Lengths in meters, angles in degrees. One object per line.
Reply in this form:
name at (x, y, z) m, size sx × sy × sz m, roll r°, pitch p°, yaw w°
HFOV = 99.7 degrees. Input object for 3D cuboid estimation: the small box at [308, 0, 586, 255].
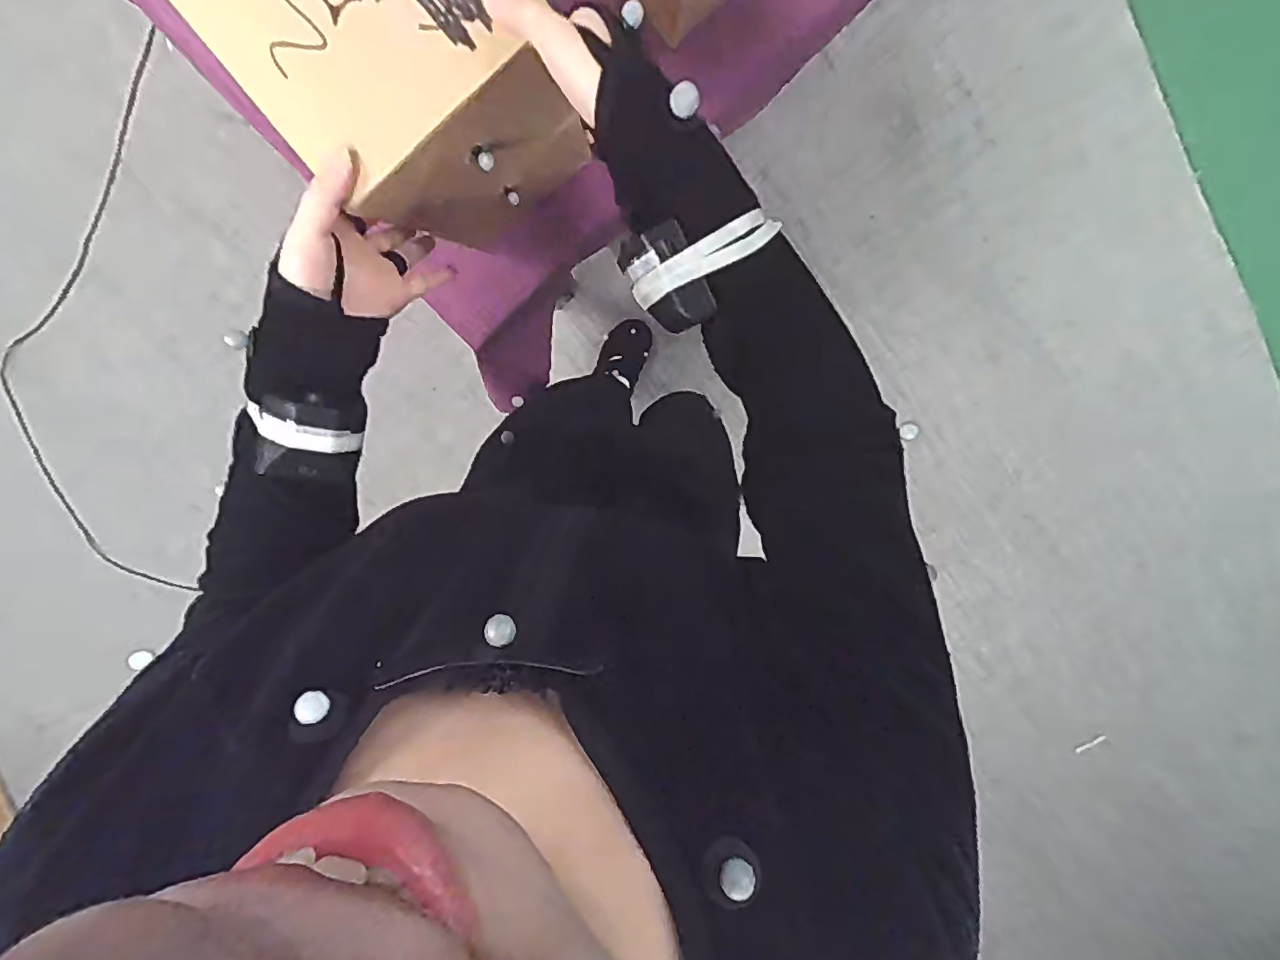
small box at (-0.172, -0.350, 0.545) m, size 0.179 × 0.176 × 0.168 m, roll -32°, pitch 106°, yaw 9°

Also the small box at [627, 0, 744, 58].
small box at (0.051, -0.541, 0.481) m, size 0.179 × 0.176 × 0.168 m, roll -36°, pitch 104°, yaw 11°
